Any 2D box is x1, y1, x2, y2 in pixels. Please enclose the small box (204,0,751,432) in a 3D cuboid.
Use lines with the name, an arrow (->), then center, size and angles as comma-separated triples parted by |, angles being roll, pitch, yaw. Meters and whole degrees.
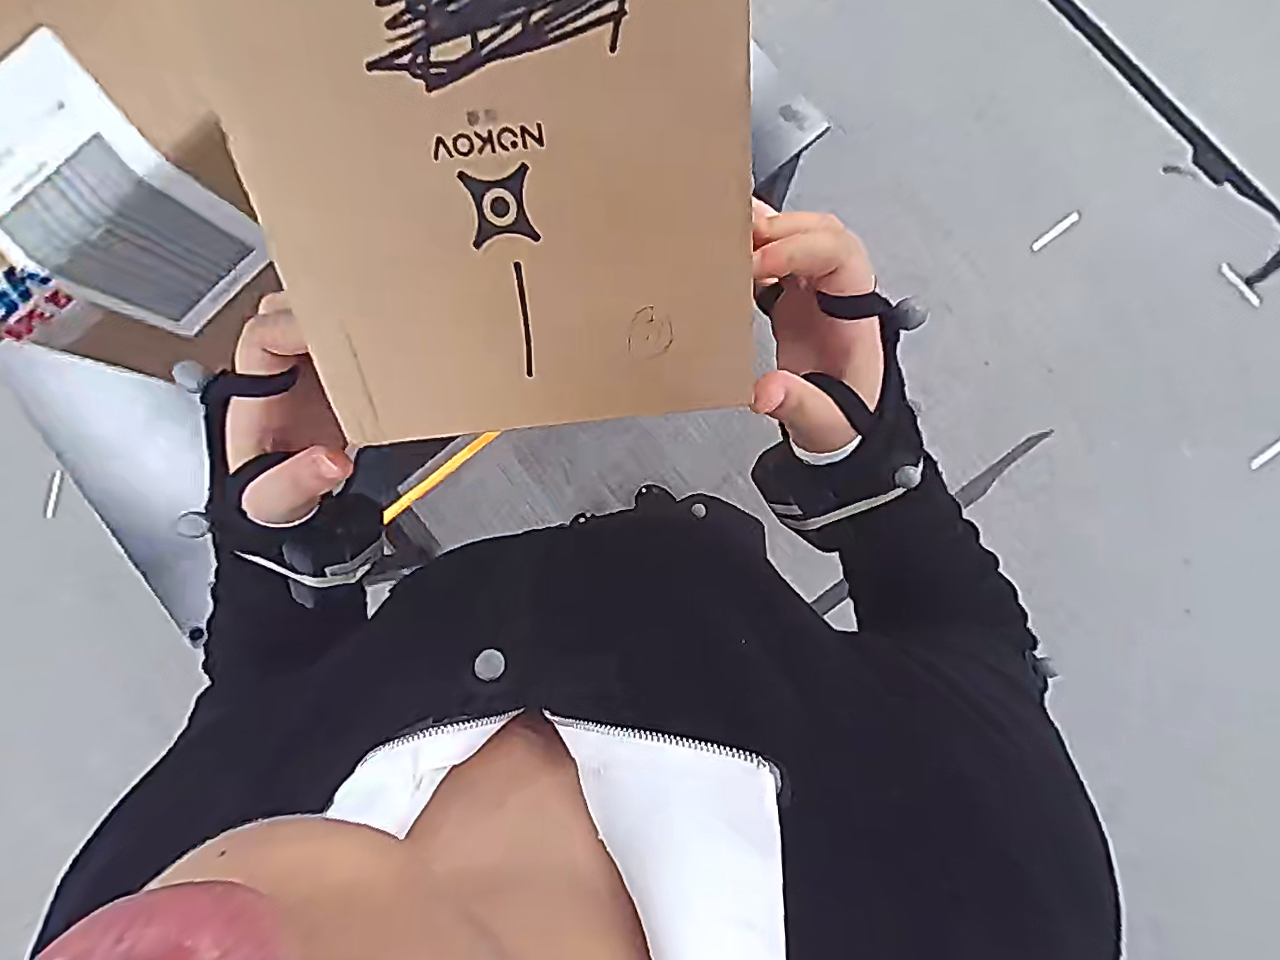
small box -> -0.045, -0.136, 0.254 | 0.168, 0.176, 0.179 | -5, 115, 3
